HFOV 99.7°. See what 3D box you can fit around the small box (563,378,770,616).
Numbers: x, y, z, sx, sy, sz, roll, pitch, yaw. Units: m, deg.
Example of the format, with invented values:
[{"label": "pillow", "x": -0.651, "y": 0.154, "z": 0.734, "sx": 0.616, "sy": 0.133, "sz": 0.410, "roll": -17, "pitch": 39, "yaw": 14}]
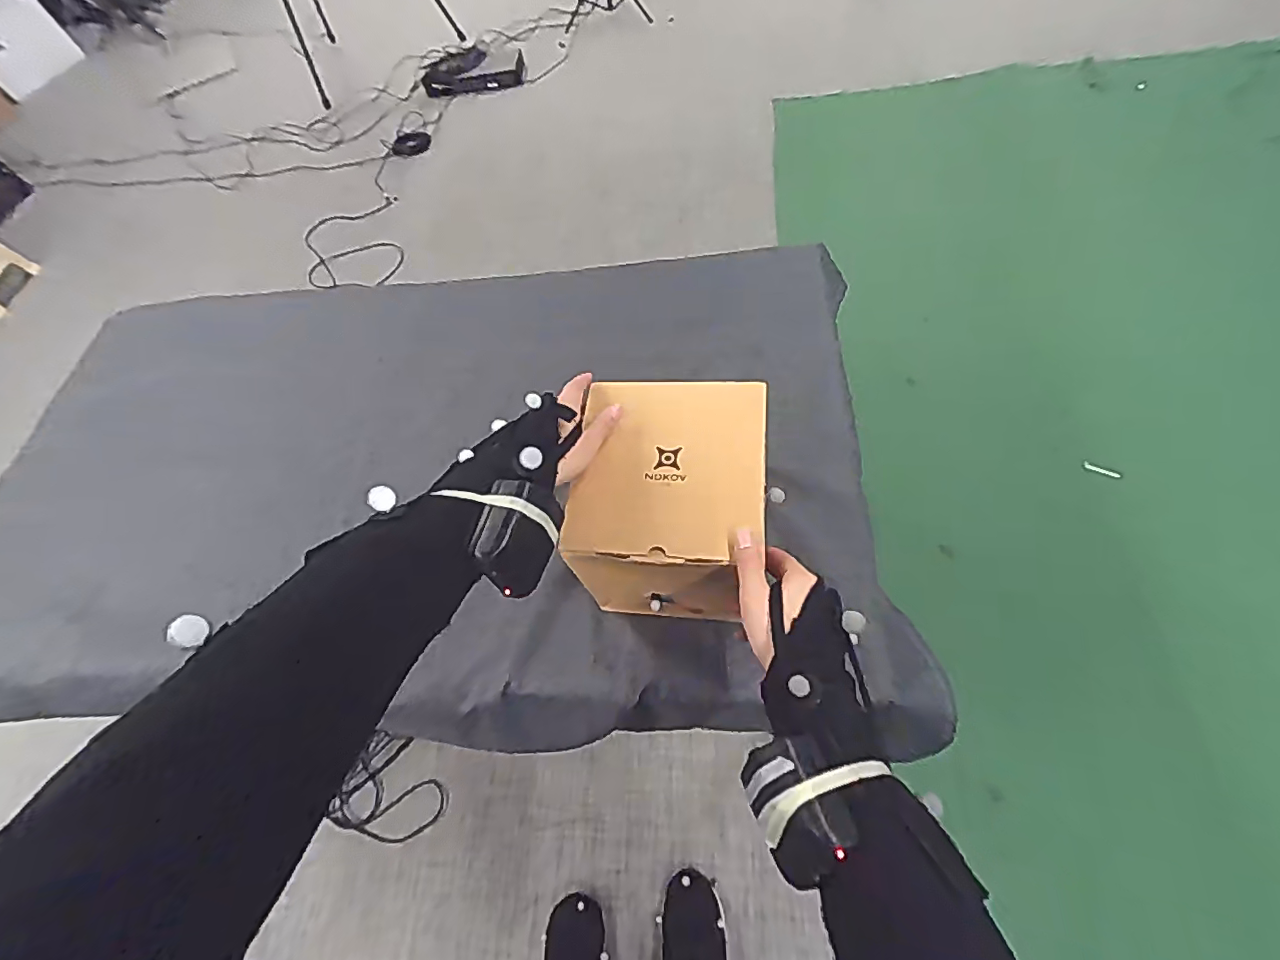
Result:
[{"label": "small box", "x": 0.037, "y": 0.021, "z": 0.532, "sx": 0.168, "sy": 0.176, "sz": 0.179, "roll": 2, "pitch": 62, "yaw": 11}]
